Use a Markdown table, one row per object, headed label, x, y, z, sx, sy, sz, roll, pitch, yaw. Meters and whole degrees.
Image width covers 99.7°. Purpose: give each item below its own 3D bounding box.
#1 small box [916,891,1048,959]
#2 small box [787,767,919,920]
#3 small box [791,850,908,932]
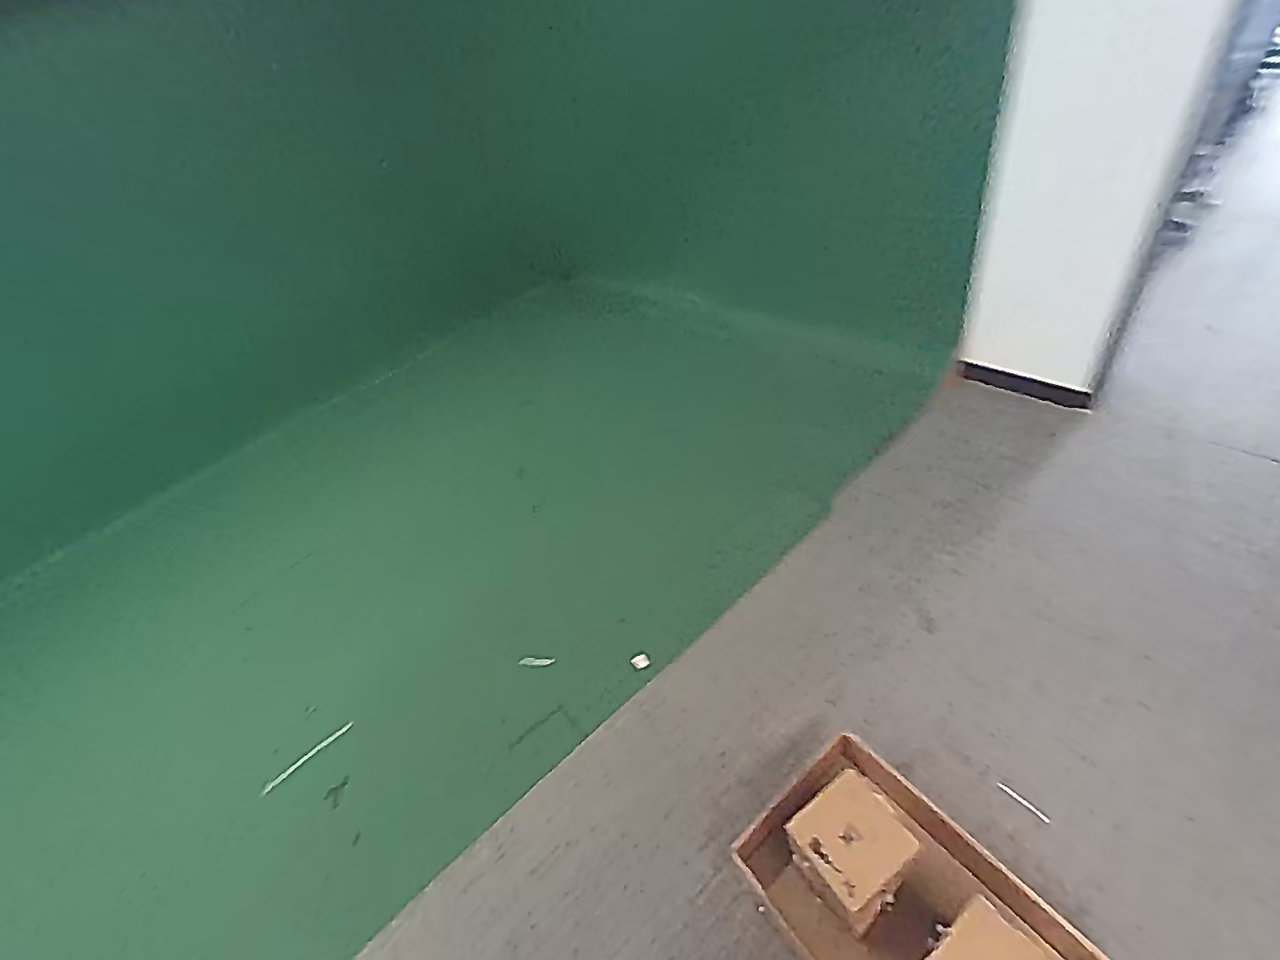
| label | x | y | z | sx | sy | sz | roll | pitch | yaw |
| --- | --- | --- | --- | --- | --- | --- | --- | --- | --- |
| small box | 0.568 | 0.836 | 0.892 | 0.179 | 0.176 | 0.168 | -35 | 43 | -16 |
| small box | 0.410 | 0.715 | 1.065 | 0.179 | 0.176 | 0.168 | -31 | 44 | -14 |
| small box | 0.452 | 0.833 | 1.174 | 0.179 | 0.176 | 0.168 | -37 | 47 | -18 |
